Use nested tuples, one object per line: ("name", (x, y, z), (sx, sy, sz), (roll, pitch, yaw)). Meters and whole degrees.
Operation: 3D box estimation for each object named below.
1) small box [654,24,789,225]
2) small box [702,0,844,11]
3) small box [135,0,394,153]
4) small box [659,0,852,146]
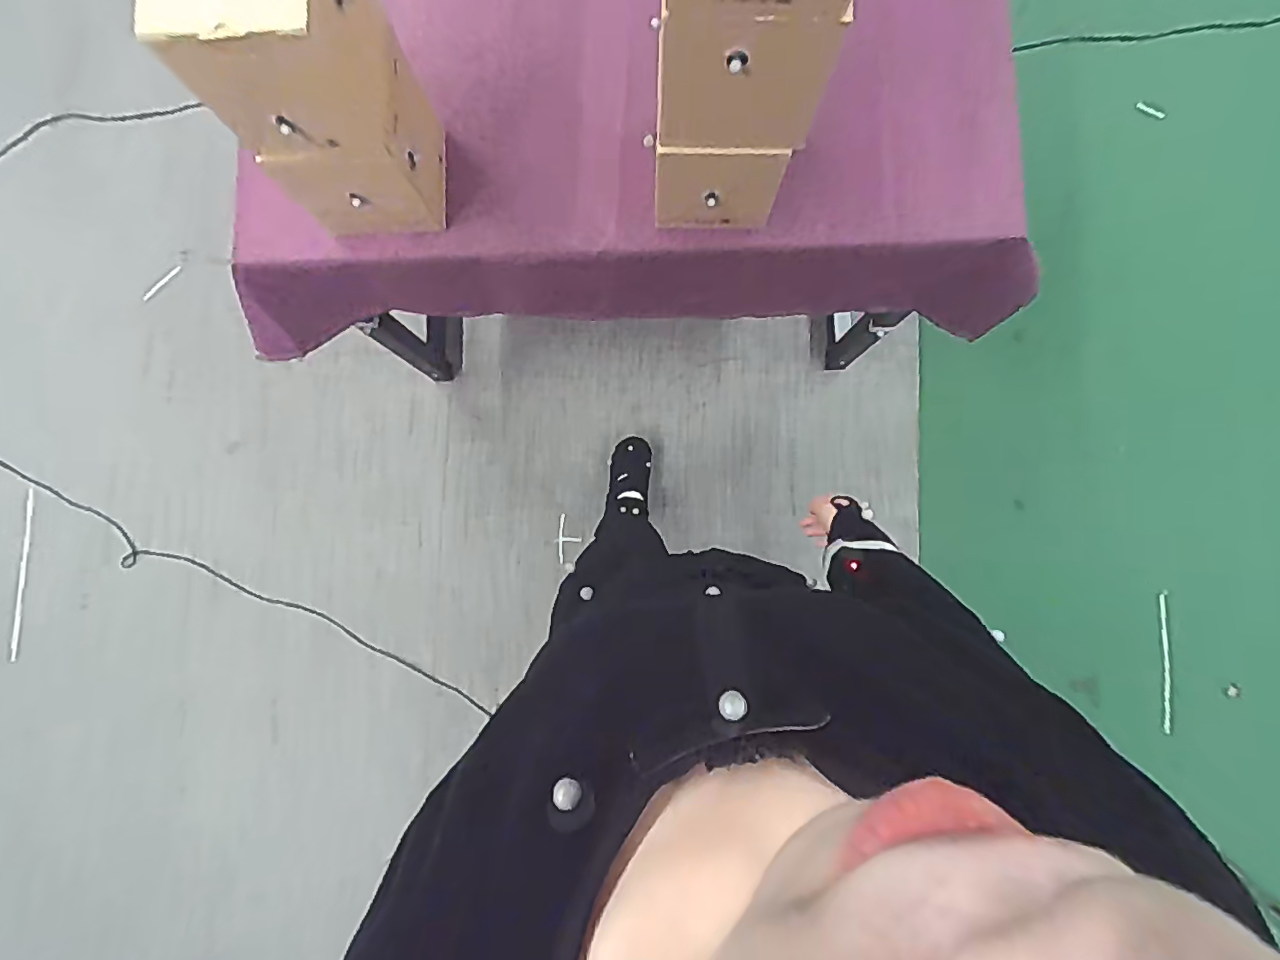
("small box", (0.105, -0.476, 0.745), (0.168, 0.176, 0.179), (2, 85, 0))
("small box", (0.108, -0.514, 0.418), (0.168, 0.176, 0.179), (2, 86, 1))
("small box", (-0.386, -0.493, 0.587), (0.168, 0.176, 0.179), (-2, 86, 1))
("small box", (0.111, -0.492, 0.581), (0.179, 0.176, 0.168), (2, 85, 0))
